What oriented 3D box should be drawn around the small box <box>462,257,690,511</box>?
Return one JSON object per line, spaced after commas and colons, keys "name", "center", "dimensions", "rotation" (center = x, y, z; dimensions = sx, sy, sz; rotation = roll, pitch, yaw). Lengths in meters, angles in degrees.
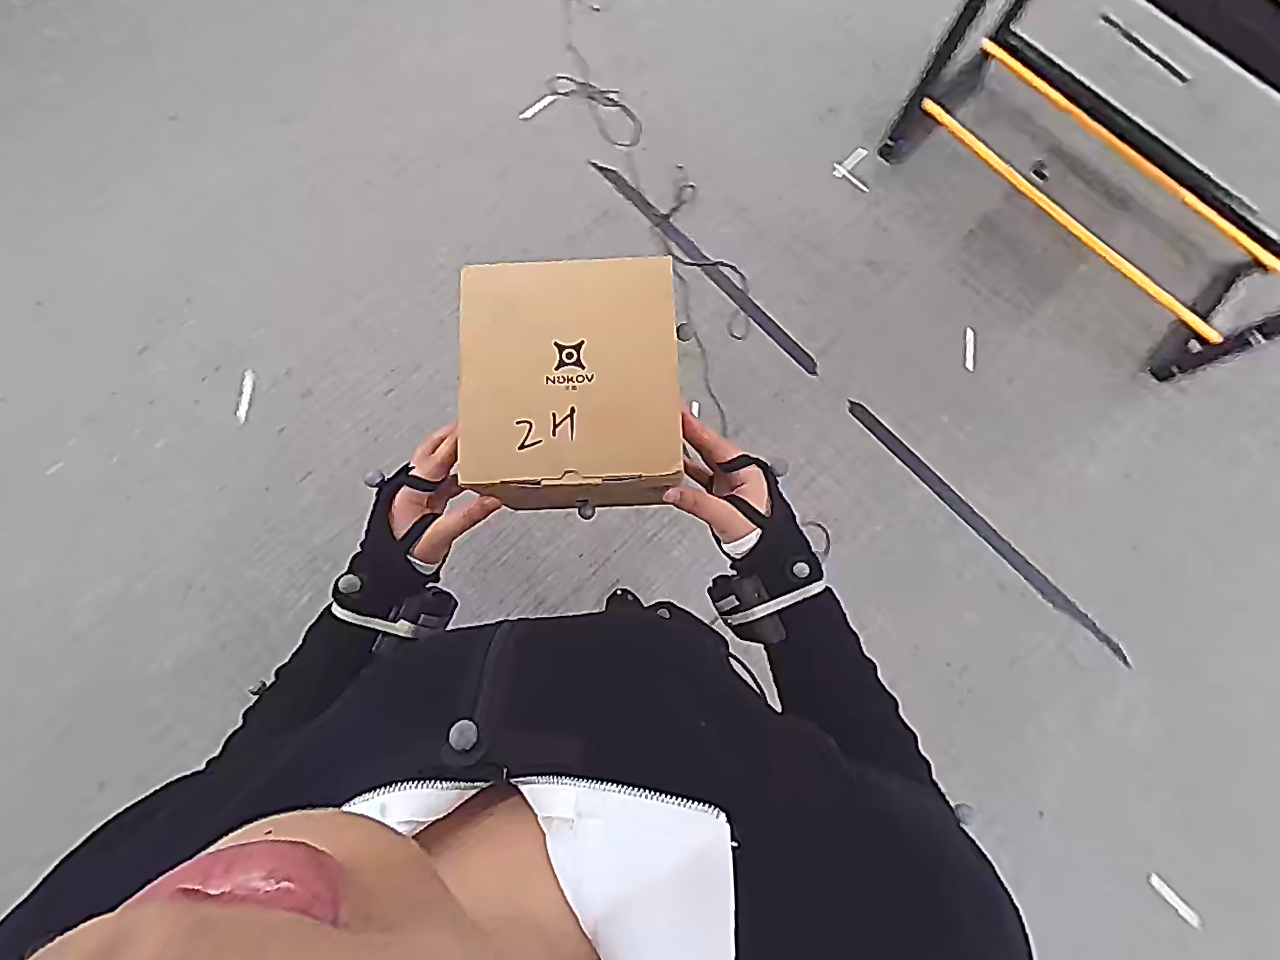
{"name": "small box", "center": [-0.046, -0.071, 0.478], "dimensions": [0.168, 0.176, 0.179], "rotation": [-1, 80, 1]}
